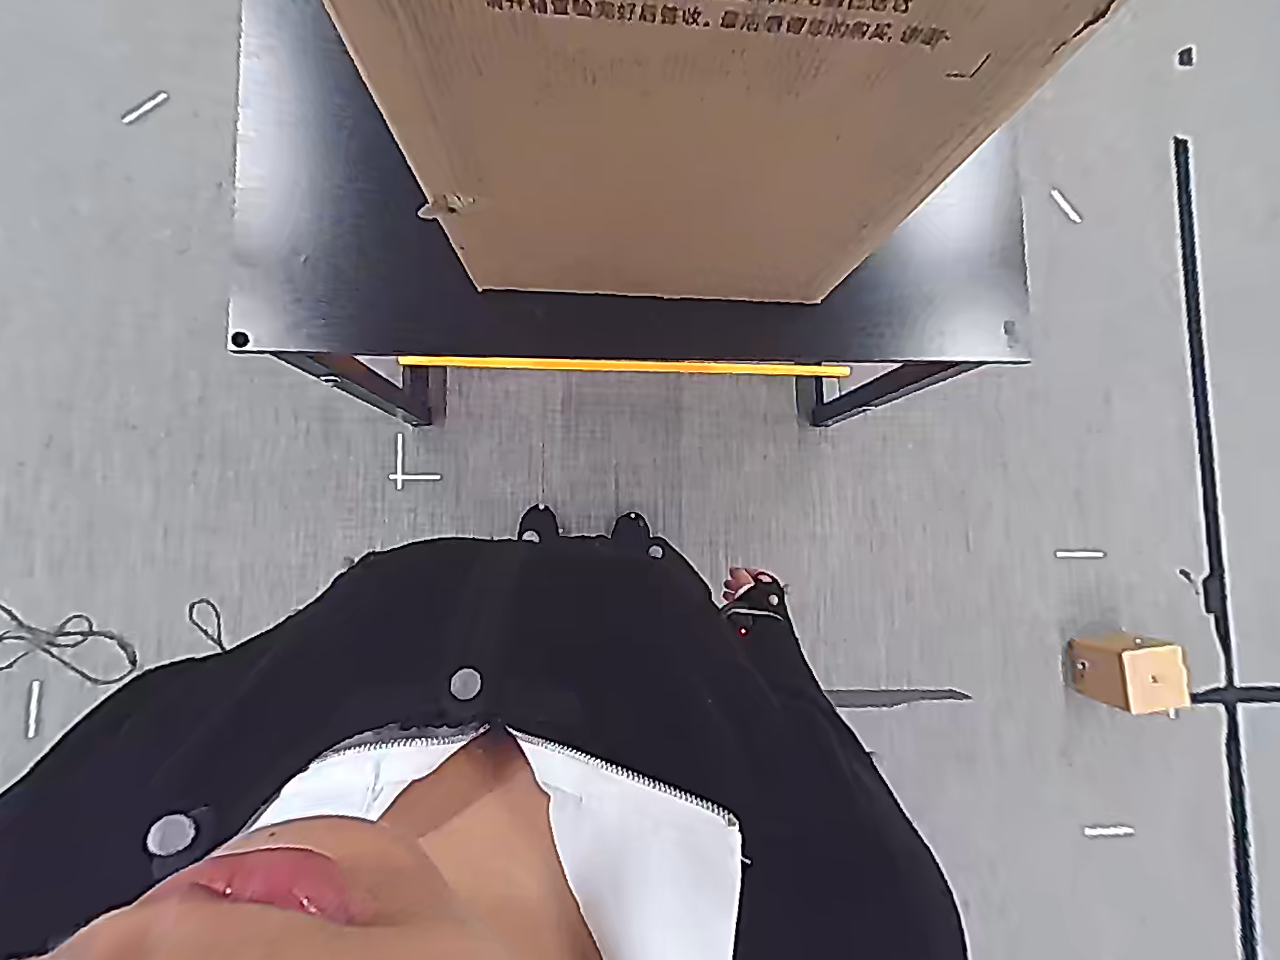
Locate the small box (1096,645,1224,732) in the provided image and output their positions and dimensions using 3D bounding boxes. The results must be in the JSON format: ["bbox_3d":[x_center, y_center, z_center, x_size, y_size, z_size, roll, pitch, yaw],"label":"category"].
[{"bbox_3d":[1.388,0.553,1.454,0.179,0.176,0.168,-6,86,-4],"label":"small box"}]
